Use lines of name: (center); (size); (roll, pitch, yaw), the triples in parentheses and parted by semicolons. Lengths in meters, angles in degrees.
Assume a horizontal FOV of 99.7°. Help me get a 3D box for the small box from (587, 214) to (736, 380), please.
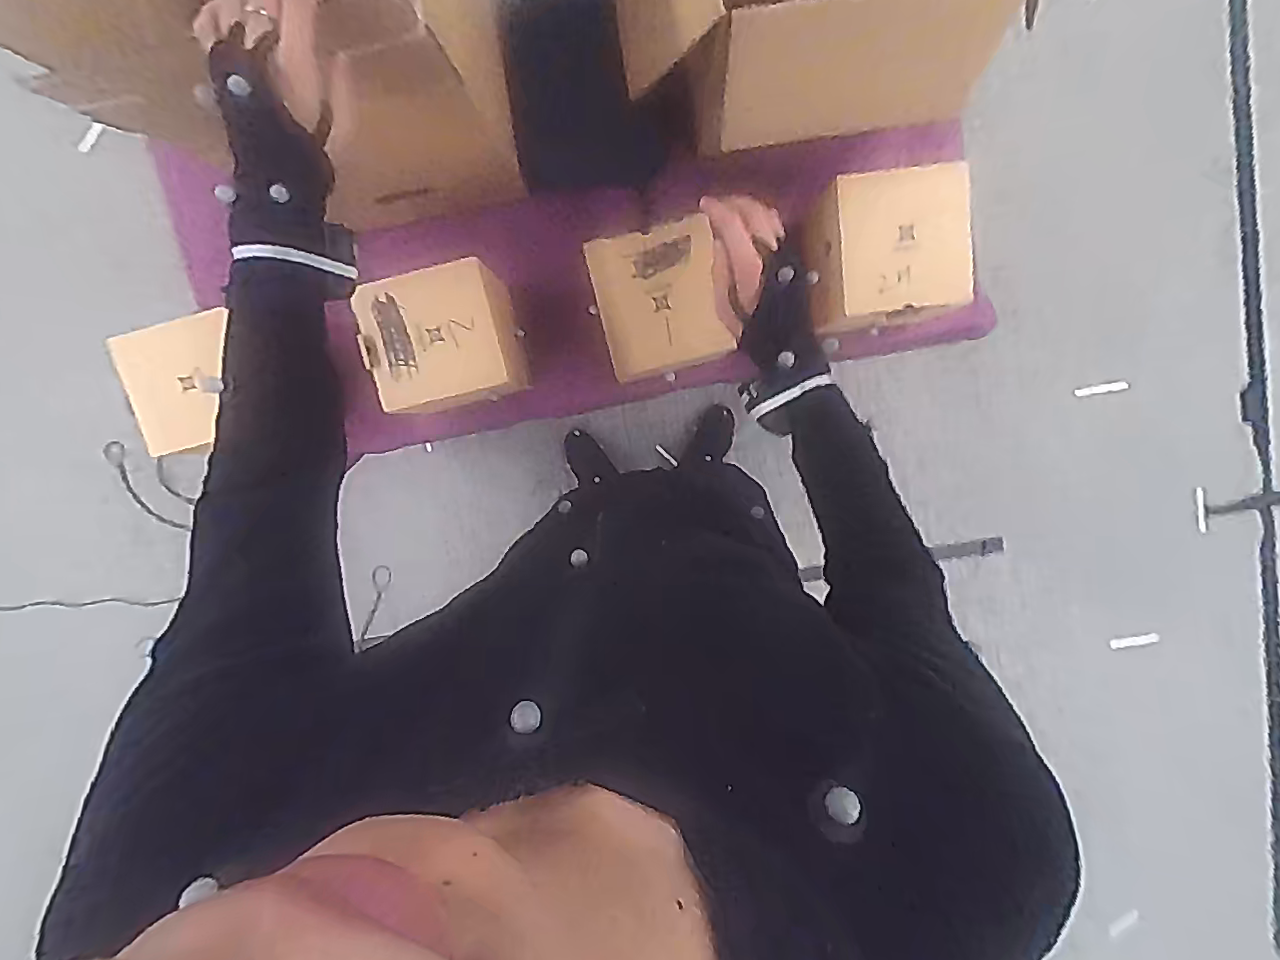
small box: (0.029, -0.247, 0.774); (0.168, 0.176, 0.179); (-13, 98, 3)

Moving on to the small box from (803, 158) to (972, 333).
small box: (0.335, -0.315, 0.760); (0.168, 0.176, 0.179); (-6, 97, 3)

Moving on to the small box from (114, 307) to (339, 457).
small box: (-0.590, -0.137, 0.796); (0.179, 0.176, 0.168); (-15, 97, 1)
